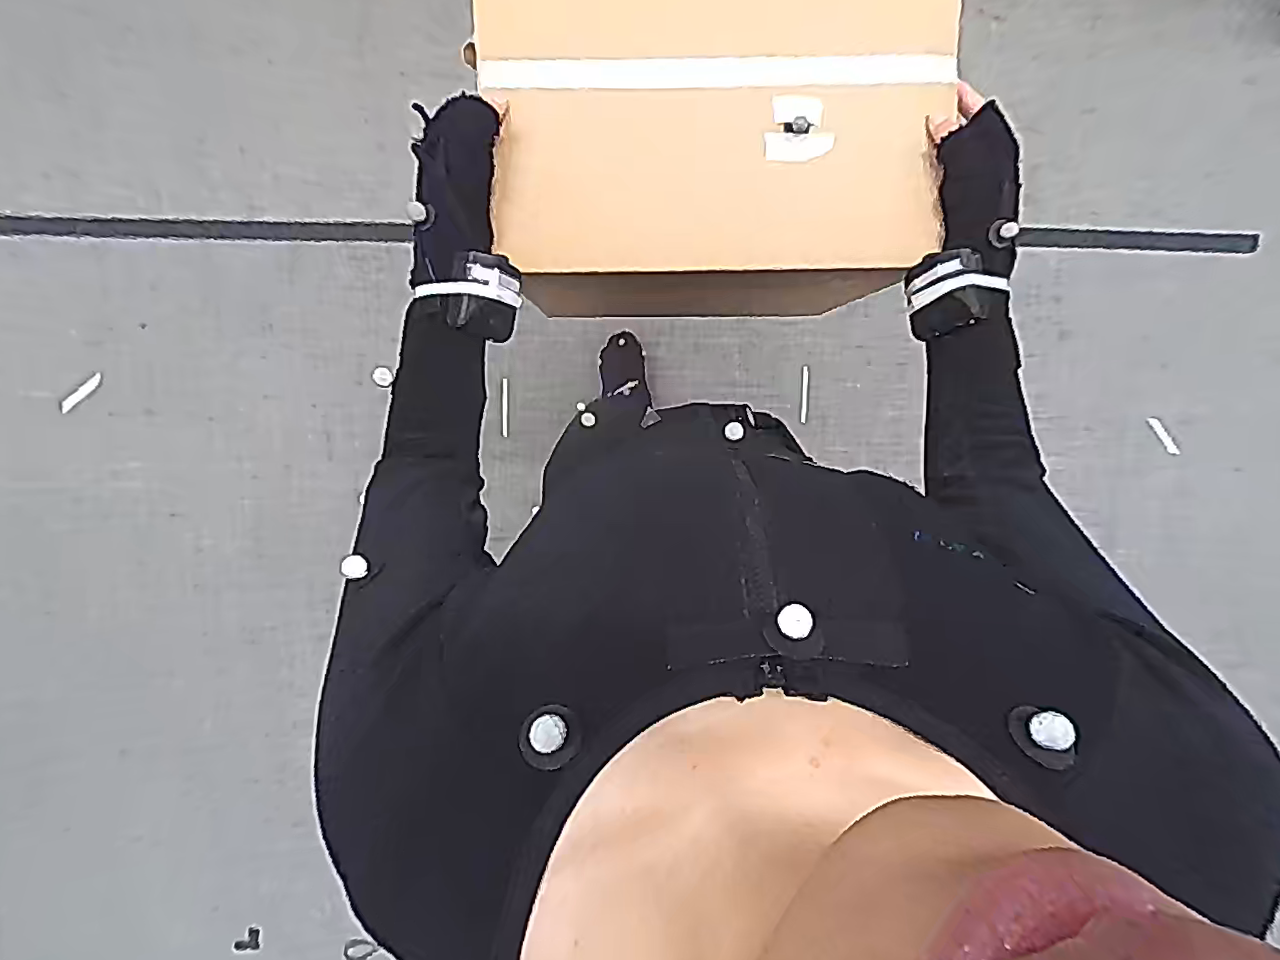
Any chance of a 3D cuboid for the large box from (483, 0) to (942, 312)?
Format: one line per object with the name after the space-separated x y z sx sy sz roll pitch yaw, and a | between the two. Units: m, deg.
0.060 -0.380 0.623 0.408 0.320 0.320 -2 100 -2 | large box
